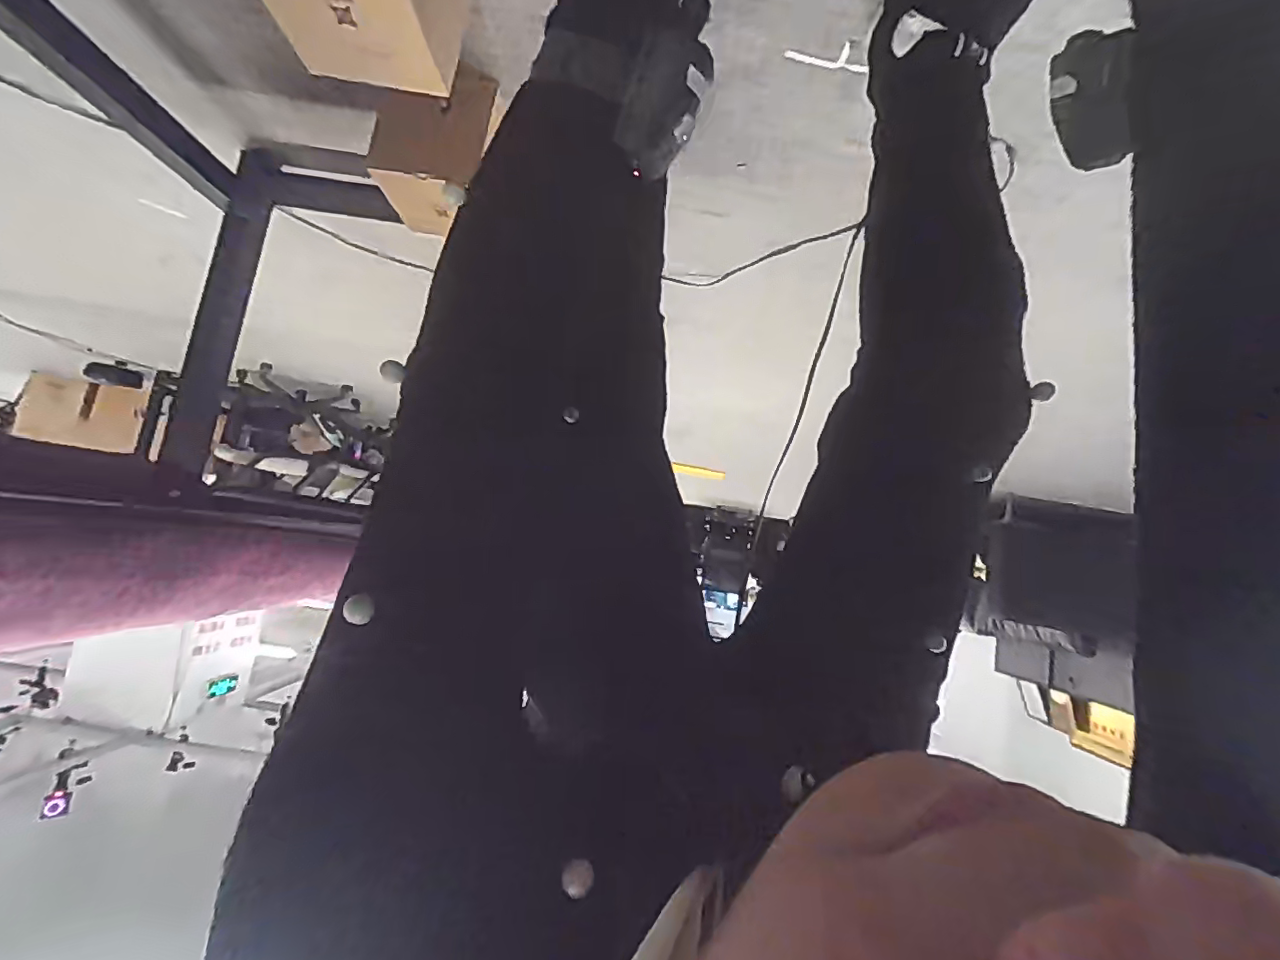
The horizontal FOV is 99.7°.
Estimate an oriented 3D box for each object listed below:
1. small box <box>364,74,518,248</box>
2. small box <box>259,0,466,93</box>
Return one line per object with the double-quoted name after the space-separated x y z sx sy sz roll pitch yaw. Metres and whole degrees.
-0.304 -0.507 0.865 0.168 0.176 0.179 9 172 1 "small box"
-0.286 -0.546 0.543 0.168 0.176 0.179 10 173 0 "small box"
